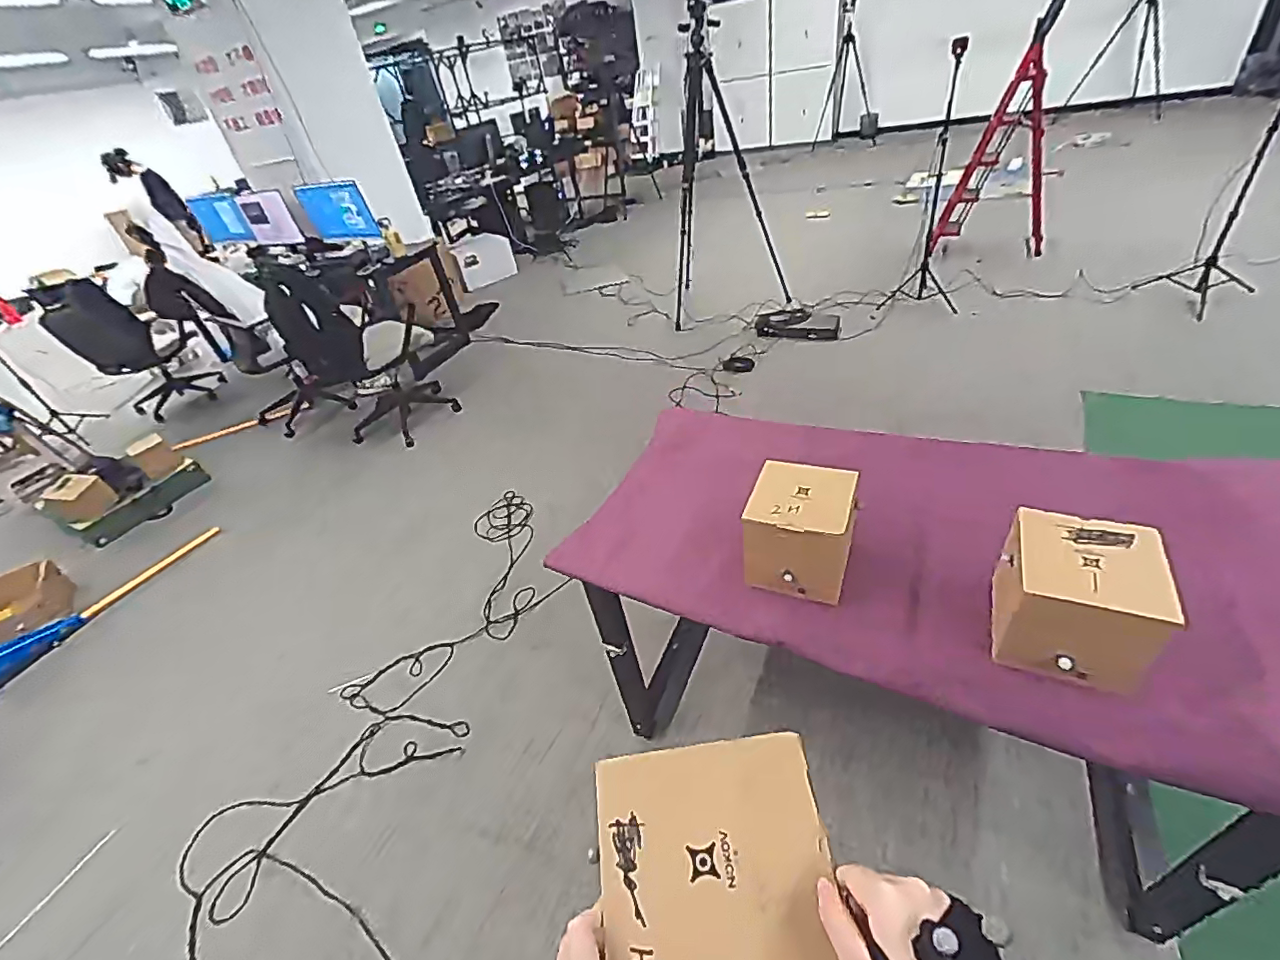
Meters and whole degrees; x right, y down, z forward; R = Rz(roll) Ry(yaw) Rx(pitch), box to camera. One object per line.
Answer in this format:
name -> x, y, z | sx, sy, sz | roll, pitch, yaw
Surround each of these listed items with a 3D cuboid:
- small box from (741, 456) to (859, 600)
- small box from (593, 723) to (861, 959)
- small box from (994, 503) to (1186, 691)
small box -> 0.286, 0.082, 0.966 | 0.168, 0.176, 0.179 | 9, 41, 25
small box -> 0.061, 0.324, 0.461 | 0.179, 0.176, 0.168 | -8, 49, 1
small box -> 0.622, 0.163, 0.777 | 0.168, 0.176, 0.179 | 10, 43, 26
